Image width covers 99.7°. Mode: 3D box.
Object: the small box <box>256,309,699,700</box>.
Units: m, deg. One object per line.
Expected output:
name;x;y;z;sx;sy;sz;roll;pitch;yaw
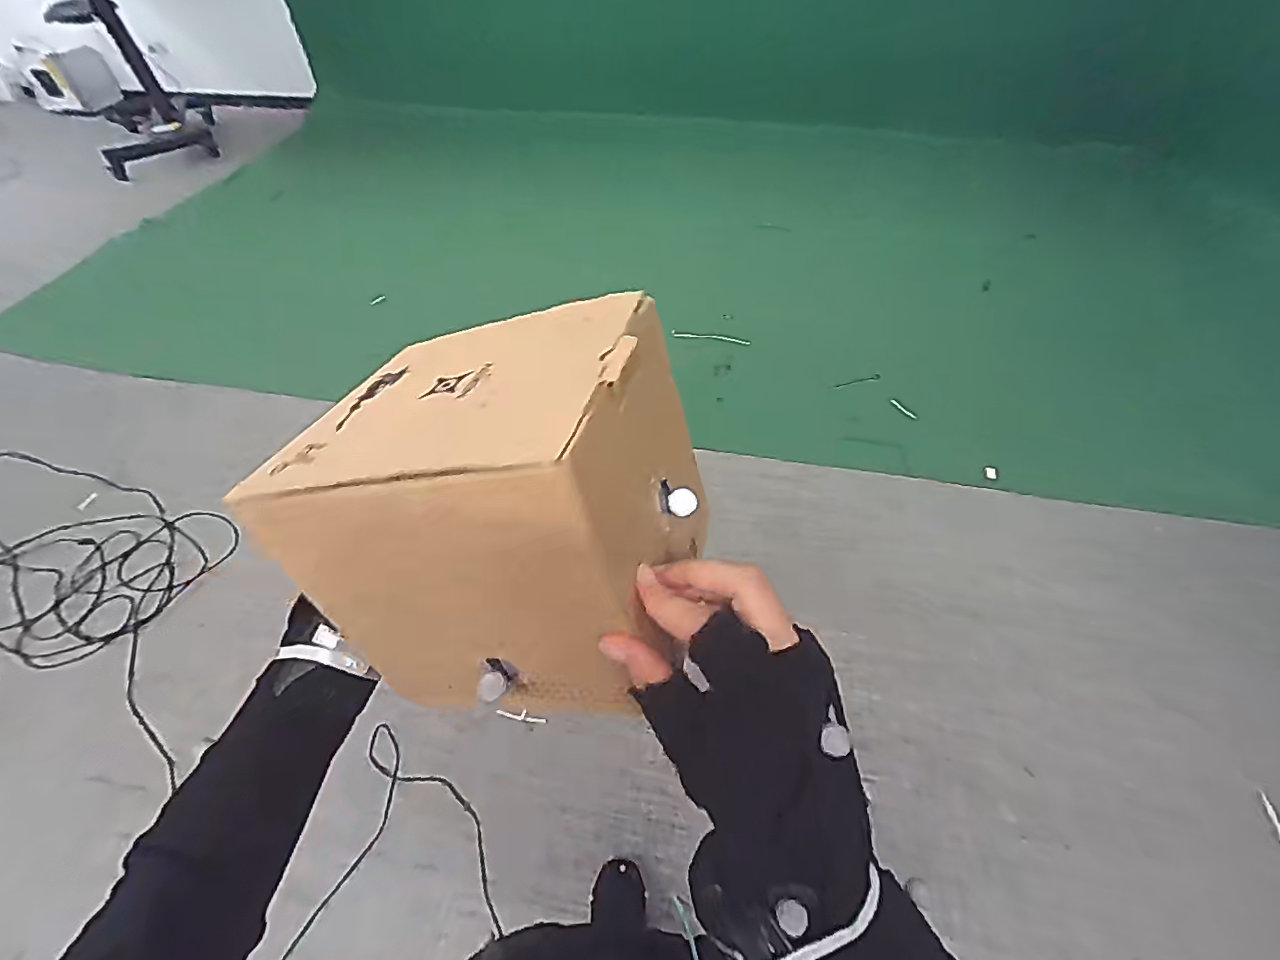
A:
small box;-0.067;0.017;0.337;0.179;0.176;0.168;-5;35;19
